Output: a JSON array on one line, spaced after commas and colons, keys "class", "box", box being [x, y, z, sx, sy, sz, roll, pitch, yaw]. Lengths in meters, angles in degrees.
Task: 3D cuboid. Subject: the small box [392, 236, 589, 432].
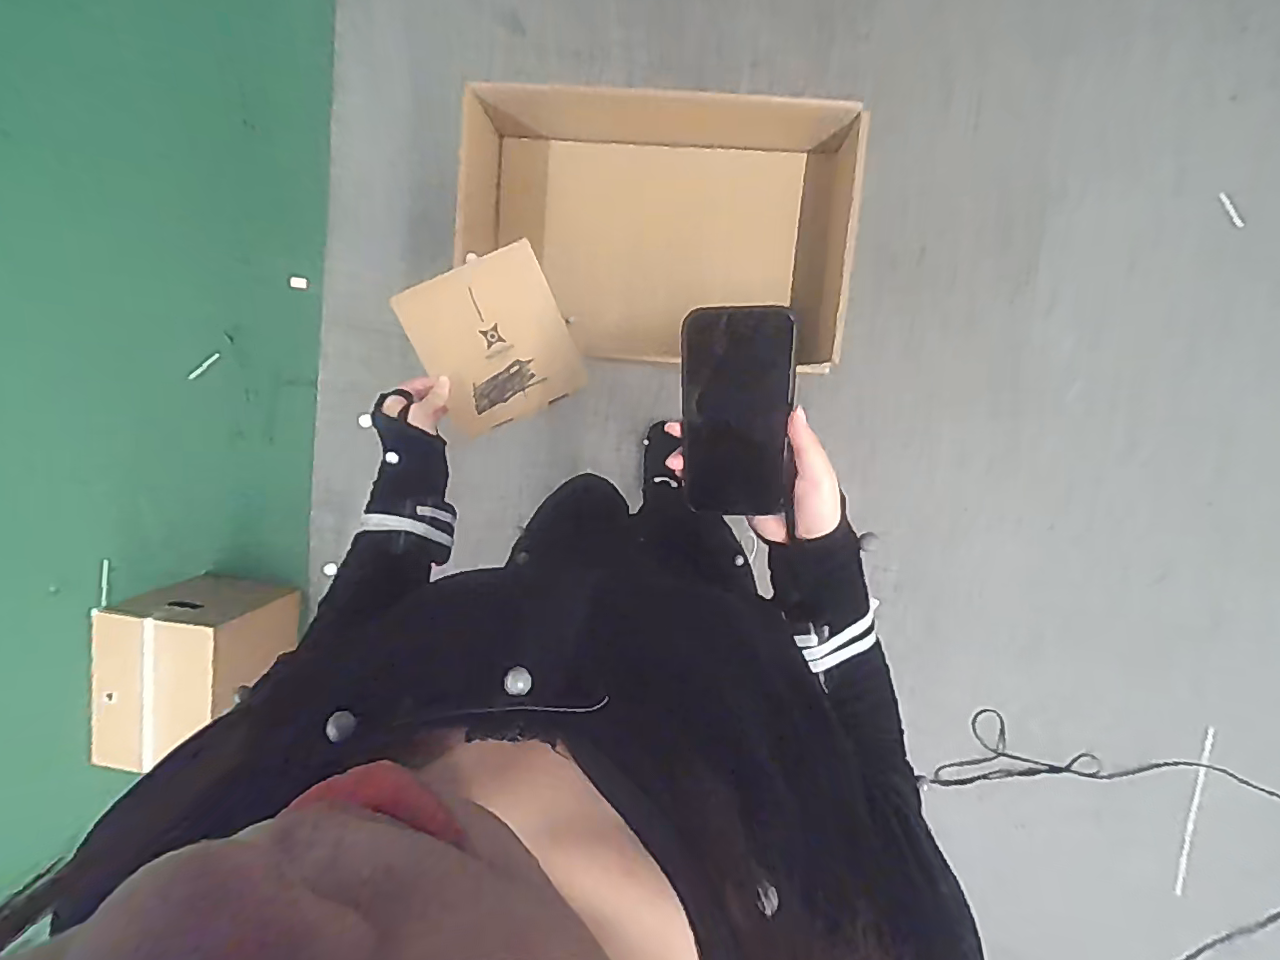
[{"class": "small box", "box": [-0.173, -0.187, 0.685, 0.168, 0.176, 0.179, -23, 111, 0]}]
